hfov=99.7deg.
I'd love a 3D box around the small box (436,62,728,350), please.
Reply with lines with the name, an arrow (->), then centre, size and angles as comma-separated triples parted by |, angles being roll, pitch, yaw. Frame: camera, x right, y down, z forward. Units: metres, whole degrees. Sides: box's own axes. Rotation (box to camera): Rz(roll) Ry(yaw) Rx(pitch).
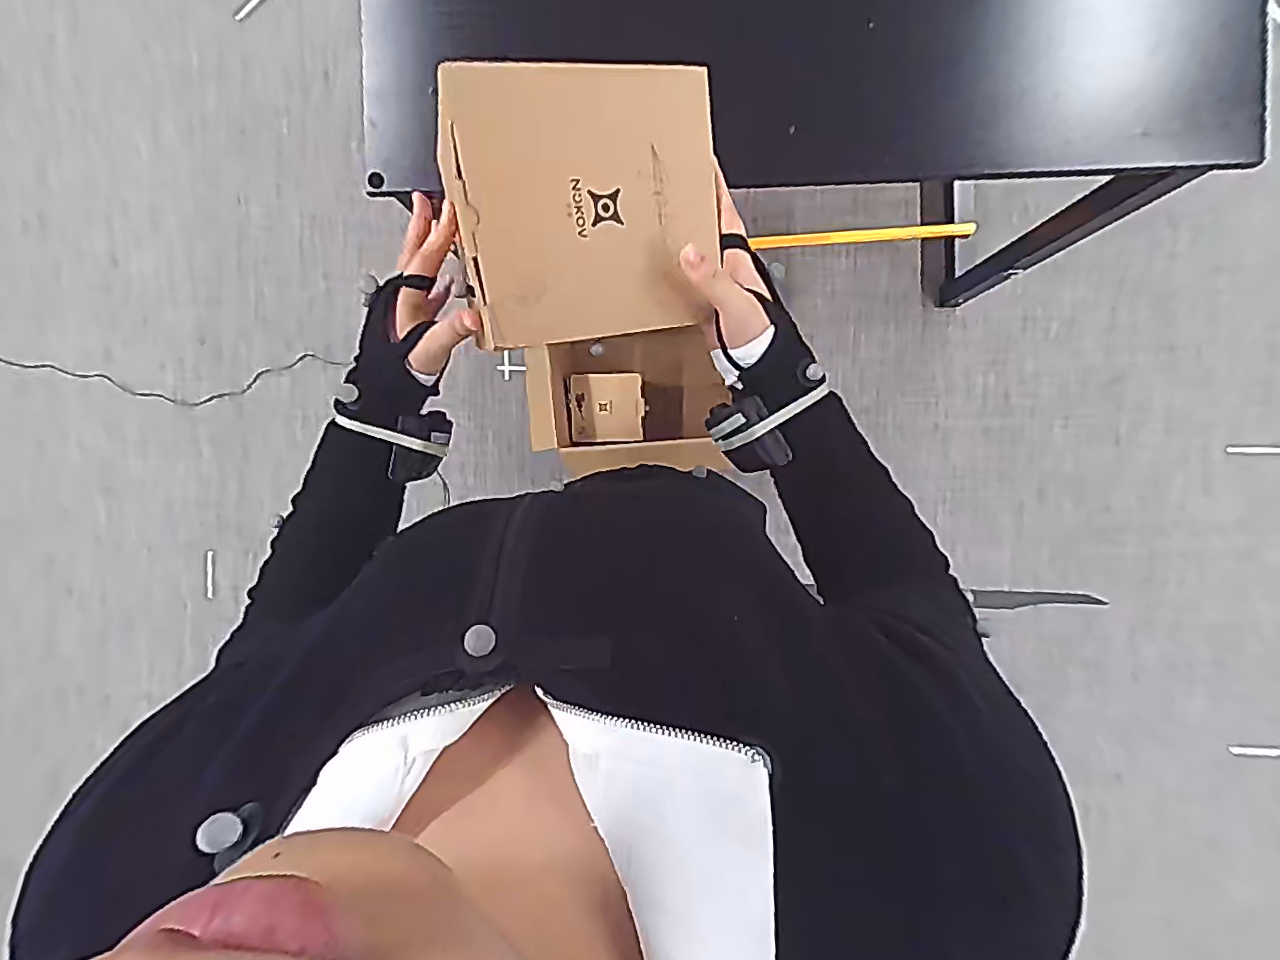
small box -> -0.050, -0.199, 0.429 | 0.179, 0.176, 0.168 | -13, 109, -16
